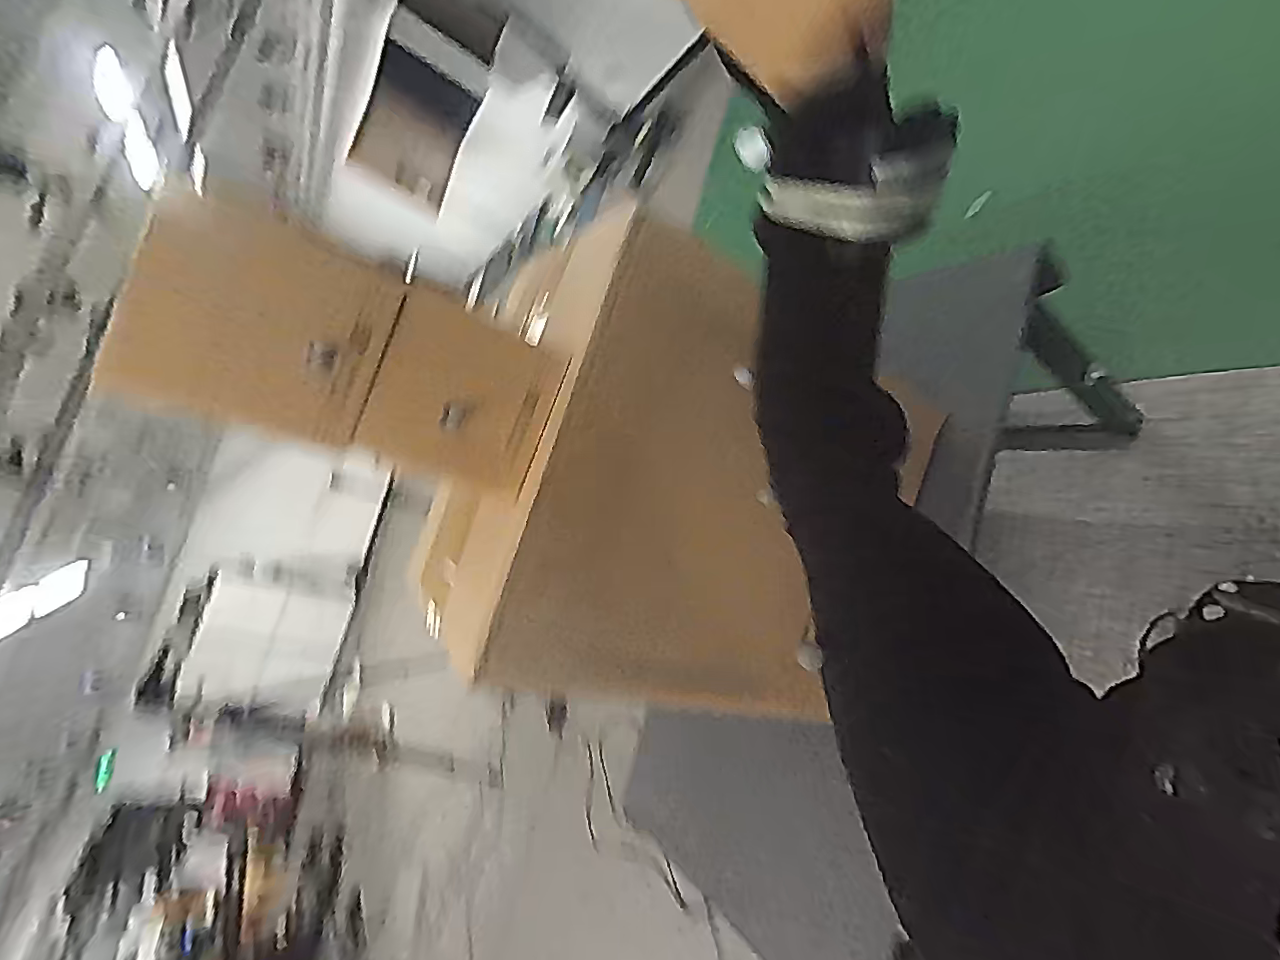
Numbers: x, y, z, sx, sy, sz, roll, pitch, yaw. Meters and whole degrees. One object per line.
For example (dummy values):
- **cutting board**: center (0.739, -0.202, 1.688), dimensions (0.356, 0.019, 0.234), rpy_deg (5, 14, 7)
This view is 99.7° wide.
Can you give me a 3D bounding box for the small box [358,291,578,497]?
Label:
- **small box**: center (-0.191, -0.089, 0.599), dimensions (0.179, 0.176, 0.168), rpy_deg (22, 91, 57)
